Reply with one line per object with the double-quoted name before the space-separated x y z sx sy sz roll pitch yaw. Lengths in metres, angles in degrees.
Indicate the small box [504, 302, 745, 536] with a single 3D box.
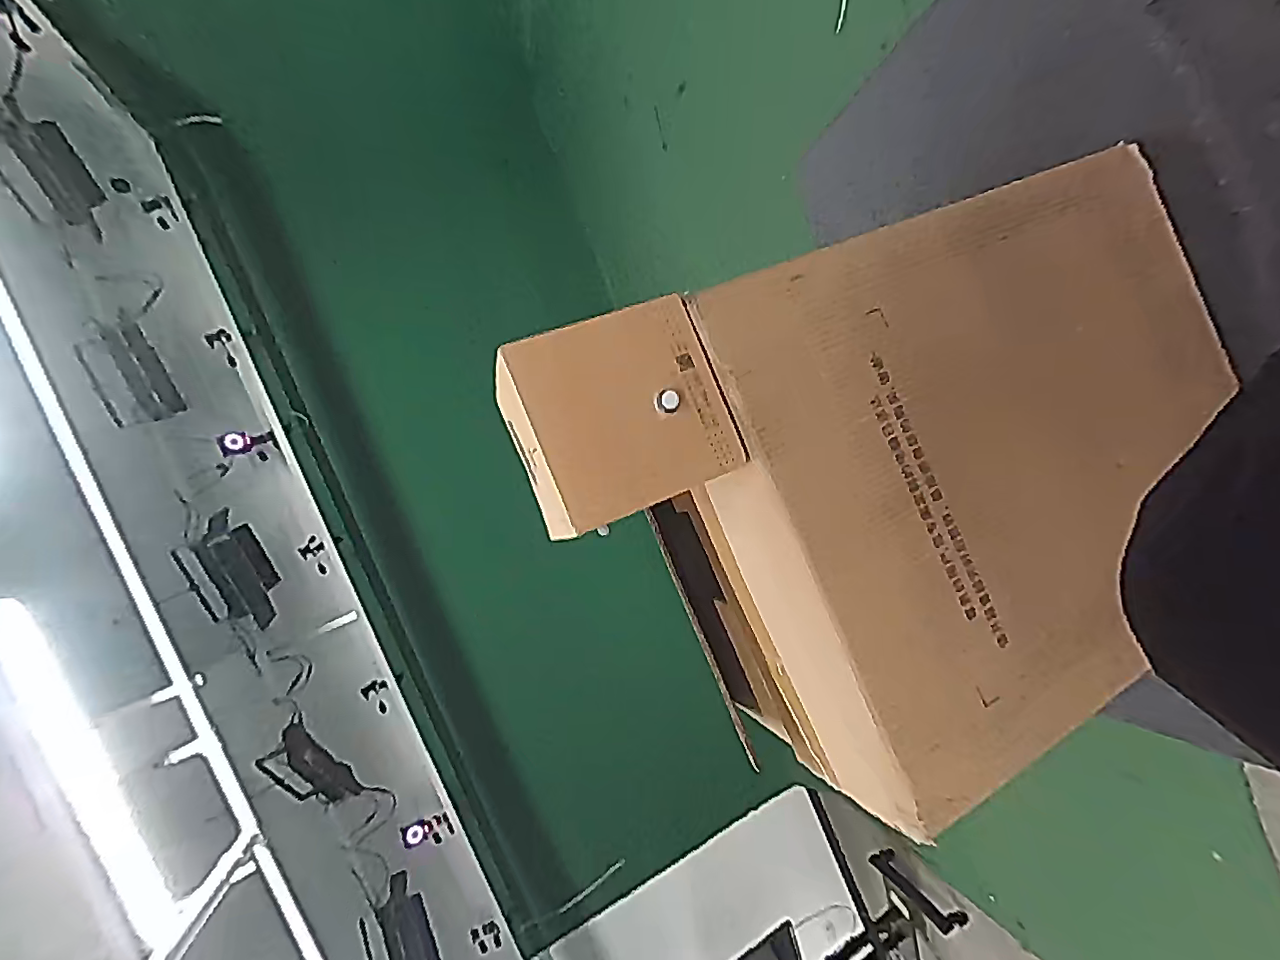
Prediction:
"small box" -0.023 -0.051 0.539 0.168 0.176 0.179 67 163 0
